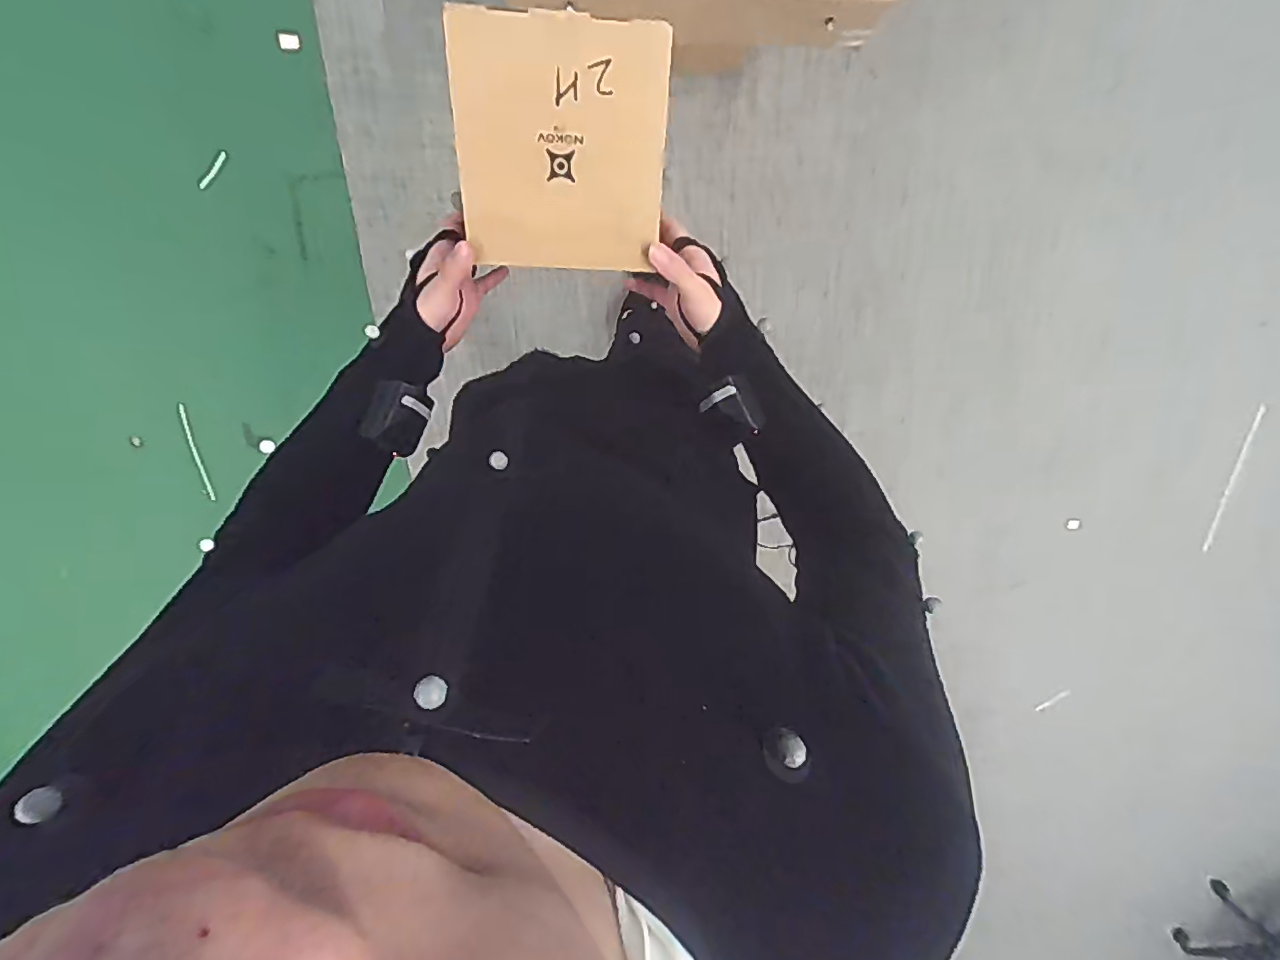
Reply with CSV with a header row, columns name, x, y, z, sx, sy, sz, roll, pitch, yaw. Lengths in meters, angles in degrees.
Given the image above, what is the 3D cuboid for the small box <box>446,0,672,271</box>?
name,x,y,z,sx,sy,sz,roll,pitch,yaw
small box,-0.066,-0.304,0.499,0.168,0.176,0.179,1,121,-5
